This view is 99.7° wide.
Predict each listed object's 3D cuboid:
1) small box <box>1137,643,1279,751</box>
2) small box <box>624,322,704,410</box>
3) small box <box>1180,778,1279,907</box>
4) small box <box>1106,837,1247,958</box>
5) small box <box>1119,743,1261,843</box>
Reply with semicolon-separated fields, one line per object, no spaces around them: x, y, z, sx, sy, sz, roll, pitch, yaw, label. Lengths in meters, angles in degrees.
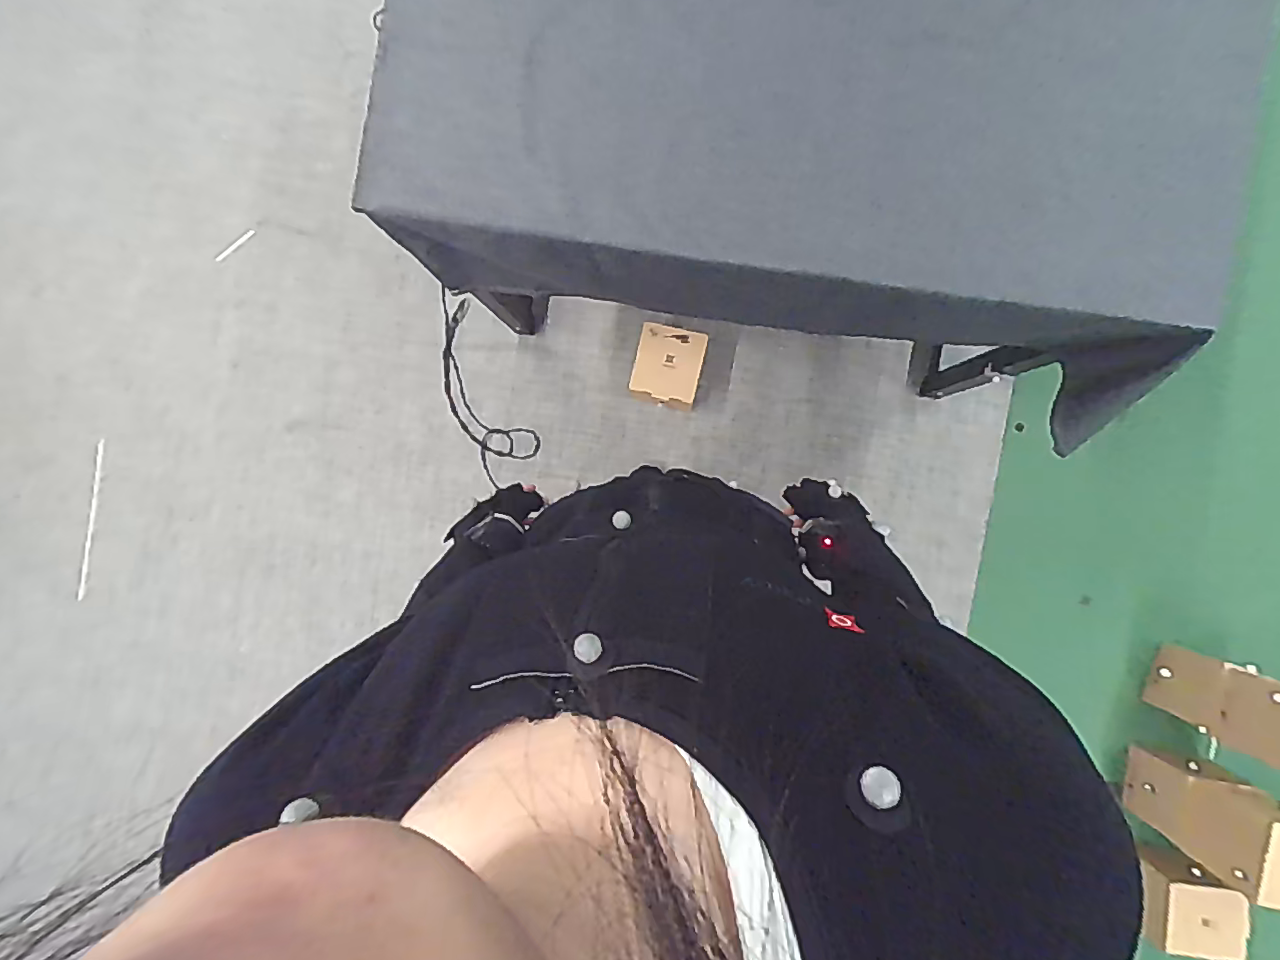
1.400;0.521;1.328;0.179;0.176;0.168;20;90;4;small box
0.064;-0.285;1.395;0.168;0.176;0.179;13;91;3;small box
1.335;0.781;1.168;0.168;0.176;0.179;10;91;3;small box
1.312;1.019;1.332;0.179;0.176;0.168;4;90;3;small box
1.340;0.773;1.331;0.179;0.176;0.168;7;90;2;small box
